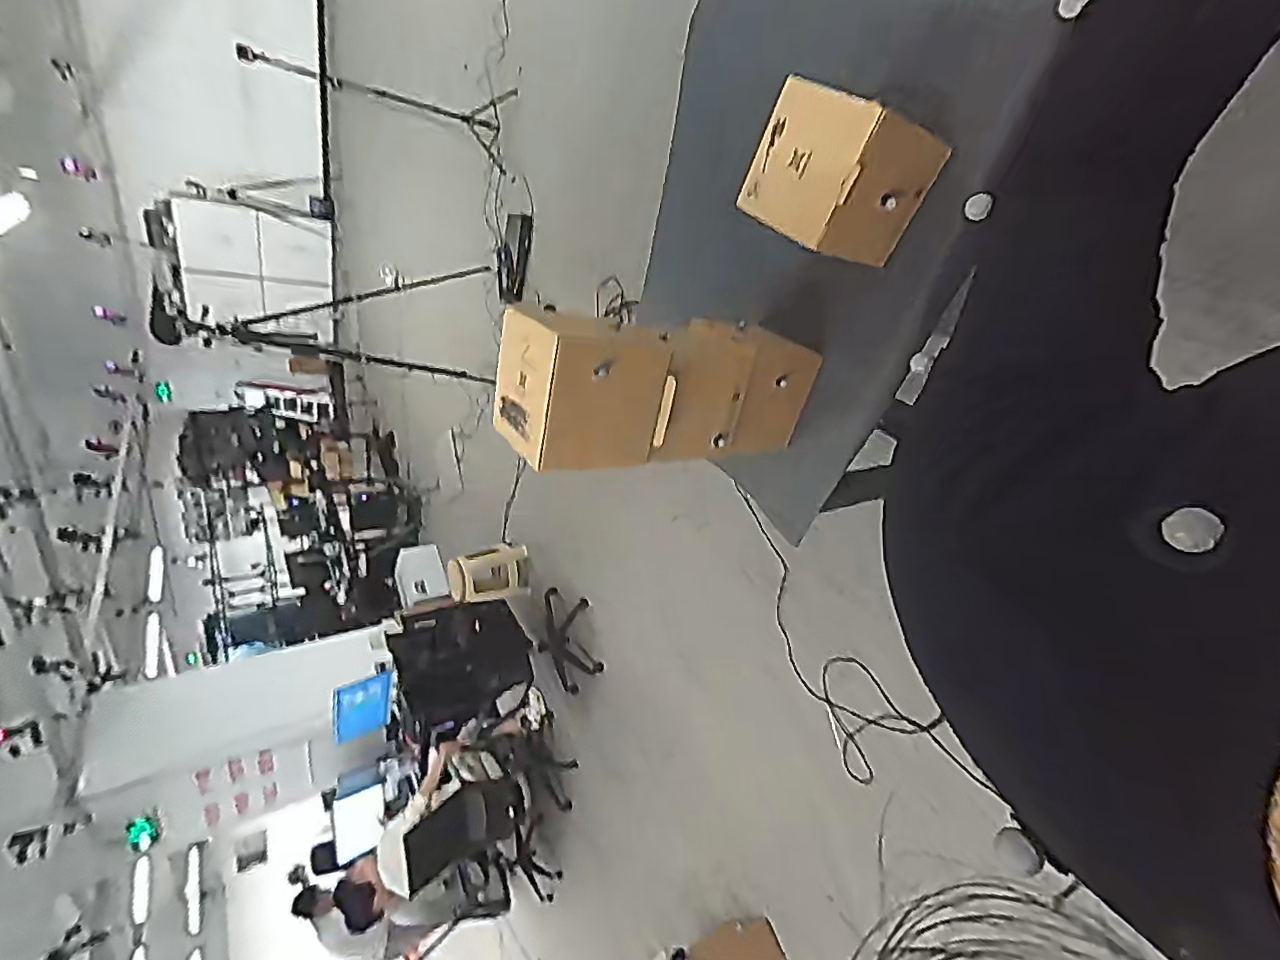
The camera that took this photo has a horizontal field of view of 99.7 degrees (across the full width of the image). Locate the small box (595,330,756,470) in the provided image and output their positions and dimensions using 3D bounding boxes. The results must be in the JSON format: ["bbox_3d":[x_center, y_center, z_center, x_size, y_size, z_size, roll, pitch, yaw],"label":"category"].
[{"bbox_3d":[0.053,-0.131,0.851,0.179,0.176,0.168,40,126,47],"label":"small box"}]

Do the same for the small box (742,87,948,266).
[{"bbox_3d":[0.285,-0.416,0.762,0.179,0.176,0.168,52,135,36],"label":"small box"}]

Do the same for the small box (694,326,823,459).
[{"bbox_3d":[0.188,-0.155,0.943,0.168,0.176,0.179,44,130,44],"label":"small box"}]
